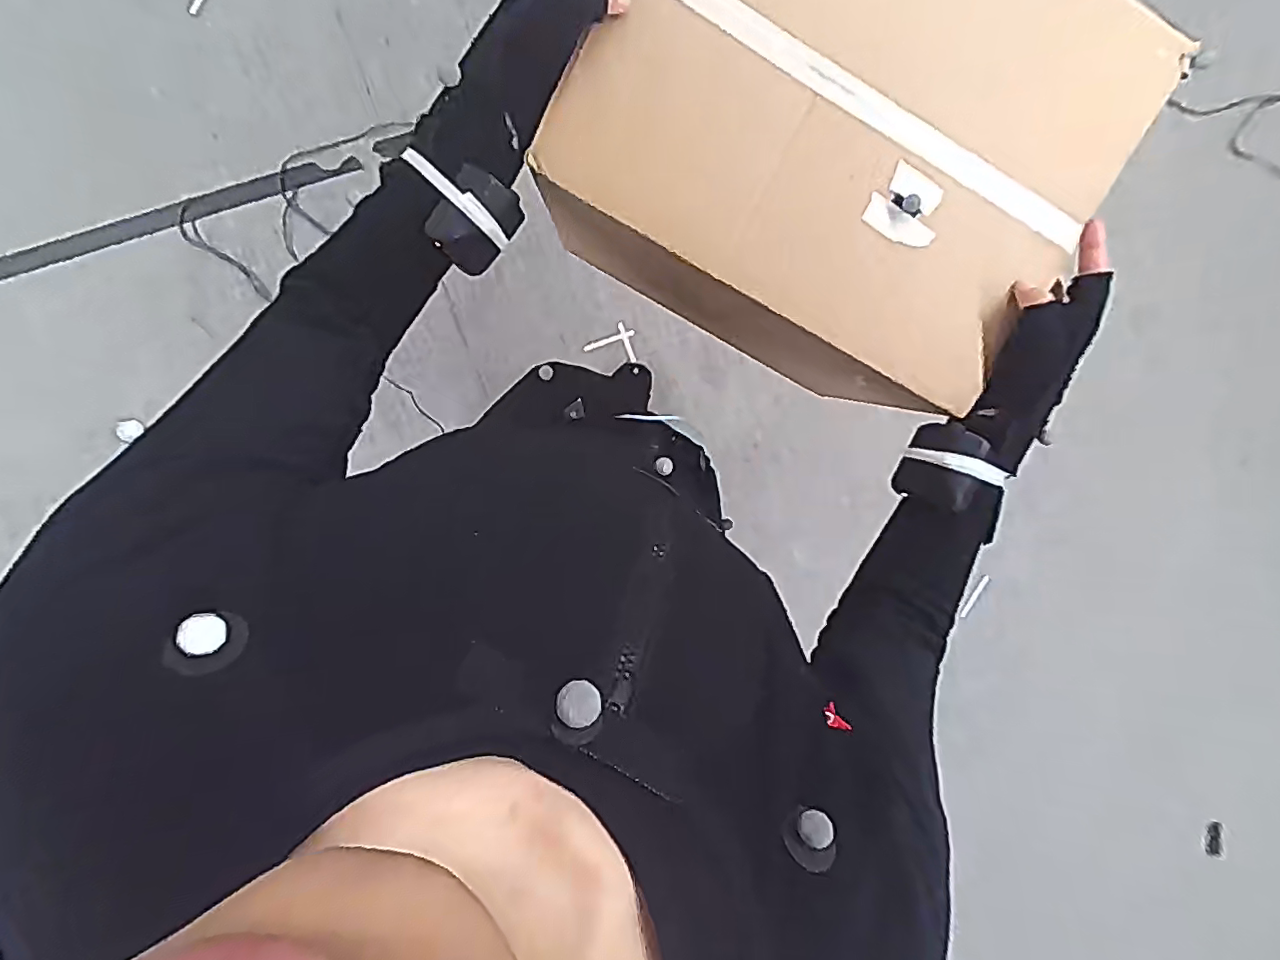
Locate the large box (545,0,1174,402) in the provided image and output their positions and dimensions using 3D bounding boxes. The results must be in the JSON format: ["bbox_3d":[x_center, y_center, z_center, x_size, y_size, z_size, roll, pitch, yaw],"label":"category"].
[{"bbox_3d":[0.159,-0.316,0.557,0.408,0.320,0.320,27,101,-9],"label":"large box"}]
